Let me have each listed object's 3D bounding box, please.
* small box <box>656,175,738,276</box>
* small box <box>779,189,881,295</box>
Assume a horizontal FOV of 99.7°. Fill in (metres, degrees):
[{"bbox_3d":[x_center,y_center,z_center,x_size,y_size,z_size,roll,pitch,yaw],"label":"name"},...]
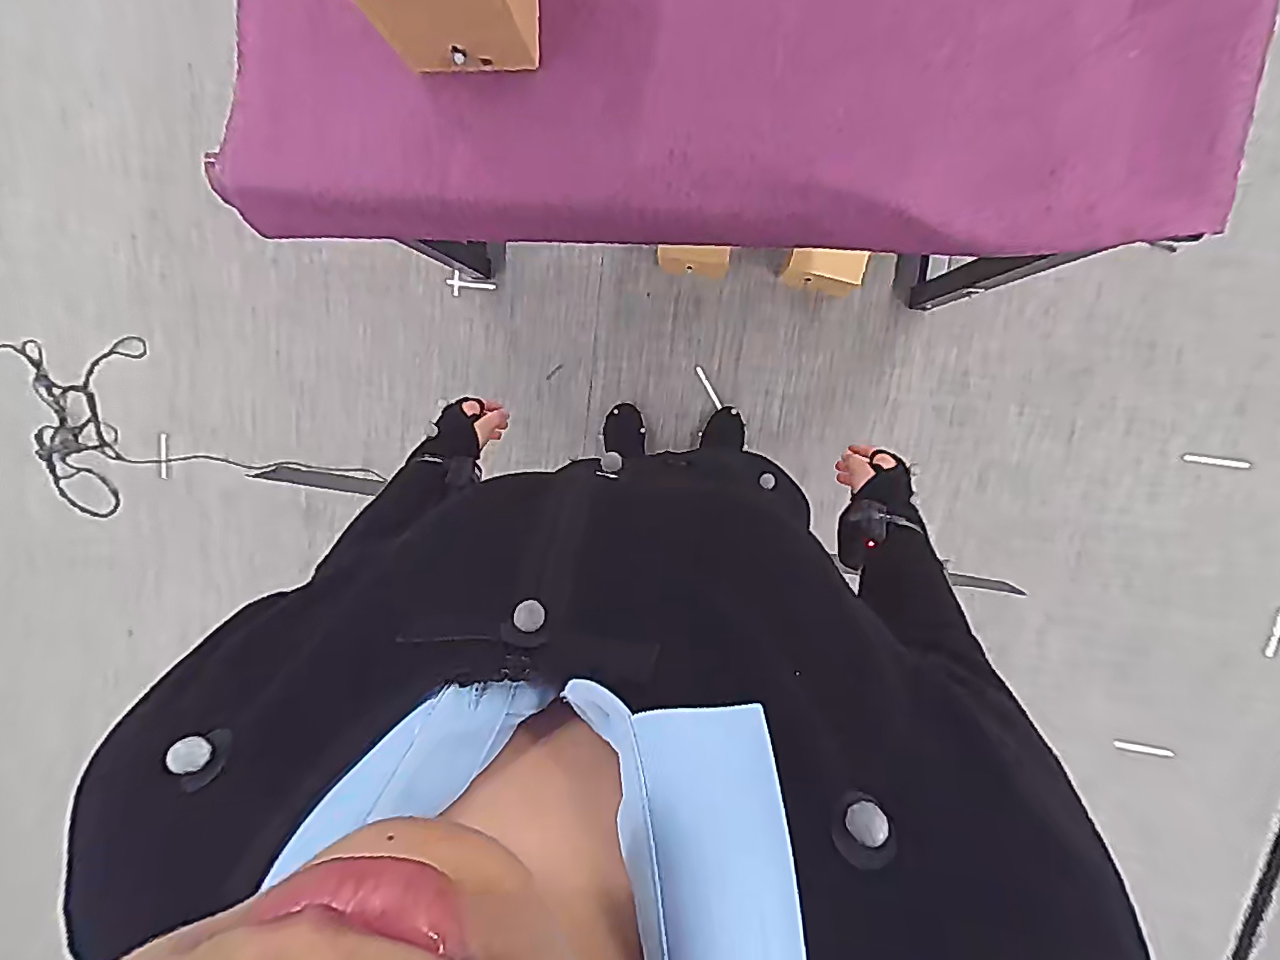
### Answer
[{"bbox_3d":[0.135,-0.601,1.300,0.168,0.176,0.179,8,100,3],"label":"small box"},{"bbox_3d":[0.440,-0.554,1.283,0.168,0.176,0.179,16,100,3],"label":"small box"}]
